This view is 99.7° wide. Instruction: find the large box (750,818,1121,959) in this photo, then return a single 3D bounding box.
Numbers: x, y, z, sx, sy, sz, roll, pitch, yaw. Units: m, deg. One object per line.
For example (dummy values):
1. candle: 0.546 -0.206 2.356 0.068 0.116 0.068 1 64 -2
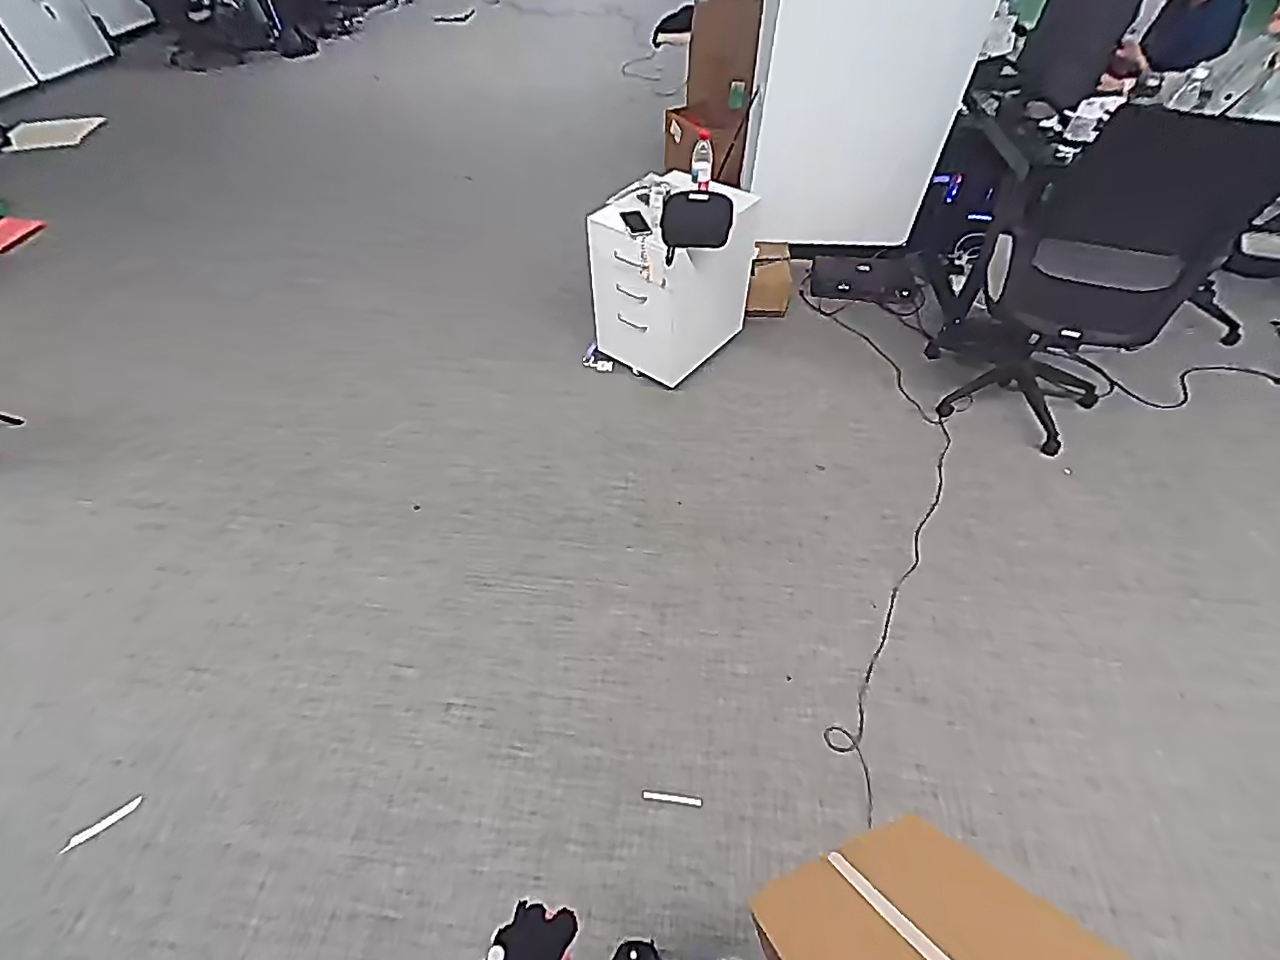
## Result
1. large box: 0.394 0.722 0.671 0.320 0.408 0.320 -19 85 -13
